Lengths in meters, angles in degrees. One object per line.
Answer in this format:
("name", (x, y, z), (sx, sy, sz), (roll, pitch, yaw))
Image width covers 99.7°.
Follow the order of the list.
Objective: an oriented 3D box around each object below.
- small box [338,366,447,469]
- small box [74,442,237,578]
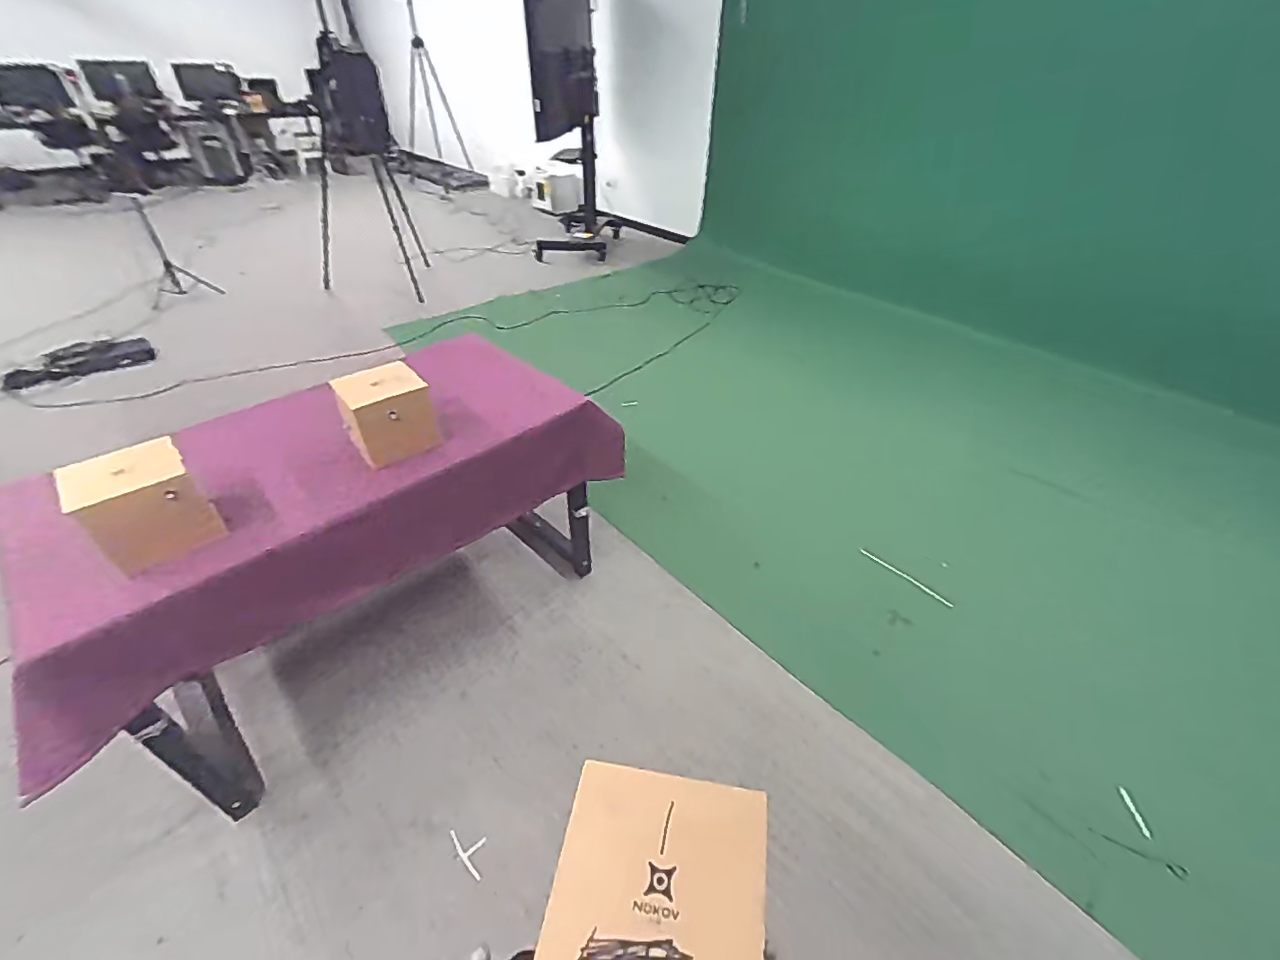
("small box", (-0.597, -0.152, 1.316), (0.179, 0.176, 0.168), (-27, 47, -30))
("small box", (-0.937, 0.058, 1.054), (0.179, 0.176, 0.168), (-30, 47, -33))
